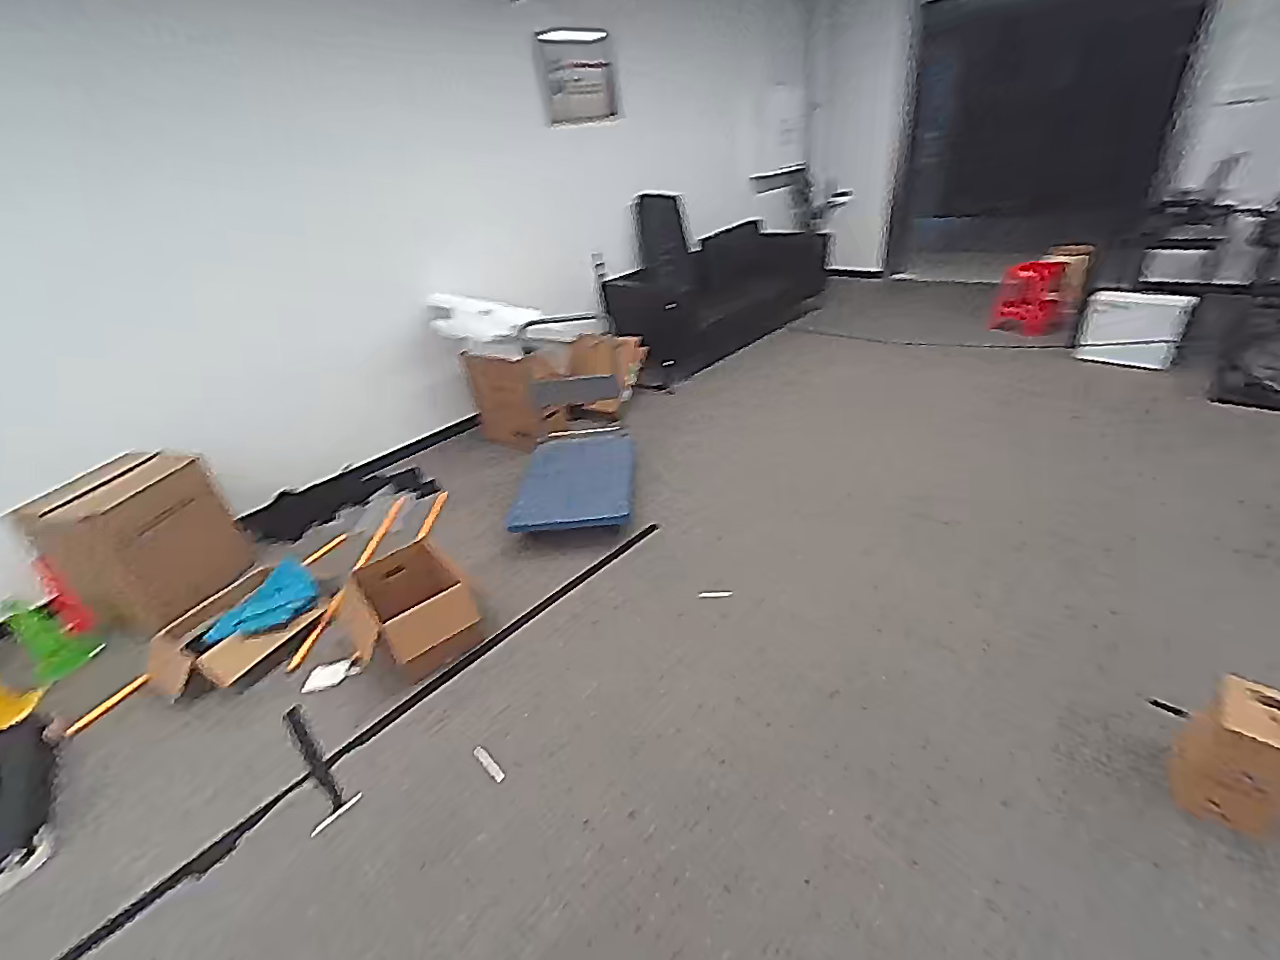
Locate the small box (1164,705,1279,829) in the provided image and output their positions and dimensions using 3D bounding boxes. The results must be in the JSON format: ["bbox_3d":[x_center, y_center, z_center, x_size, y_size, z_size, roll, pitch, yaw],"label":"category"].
[{"bbox_3d":[1.440,0.710,1.343,0.168,0.176,0.179,16,39,36],"label":"small box"}]
